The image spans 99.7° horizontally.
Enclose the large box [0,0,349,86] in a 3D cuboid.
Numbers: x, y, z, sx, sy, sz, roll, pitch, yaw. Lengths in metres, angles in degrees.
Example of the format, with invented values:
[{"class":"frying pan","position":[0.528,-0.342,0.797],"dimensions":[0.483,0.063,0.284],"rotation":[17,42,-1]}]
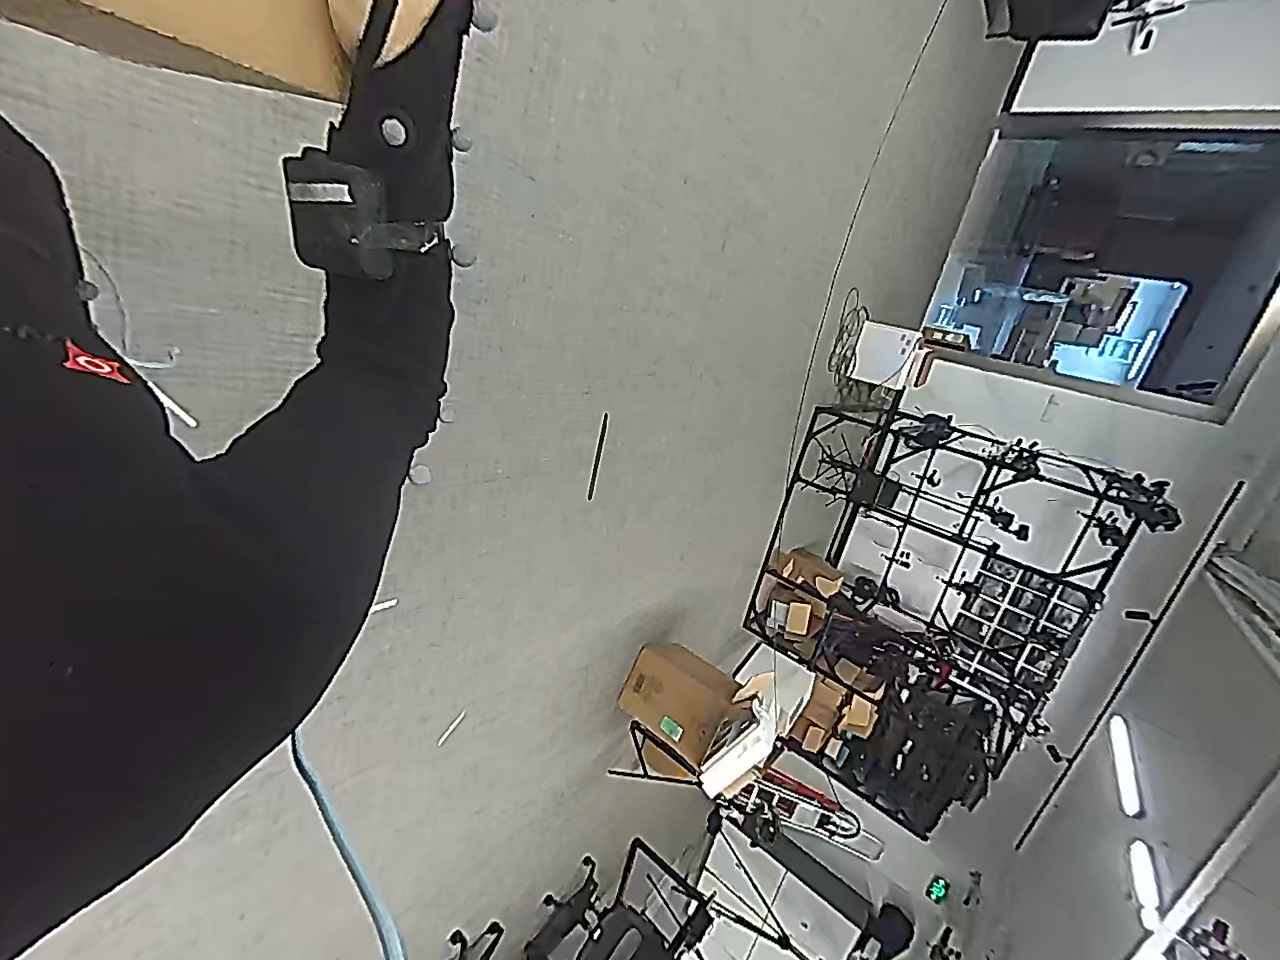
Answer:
[{"class":"large box","position":[-0.356,-0.376,0.151],"dimensions":[0.408,0.320,0.320],"rotation":[-18,131,-54]}]
